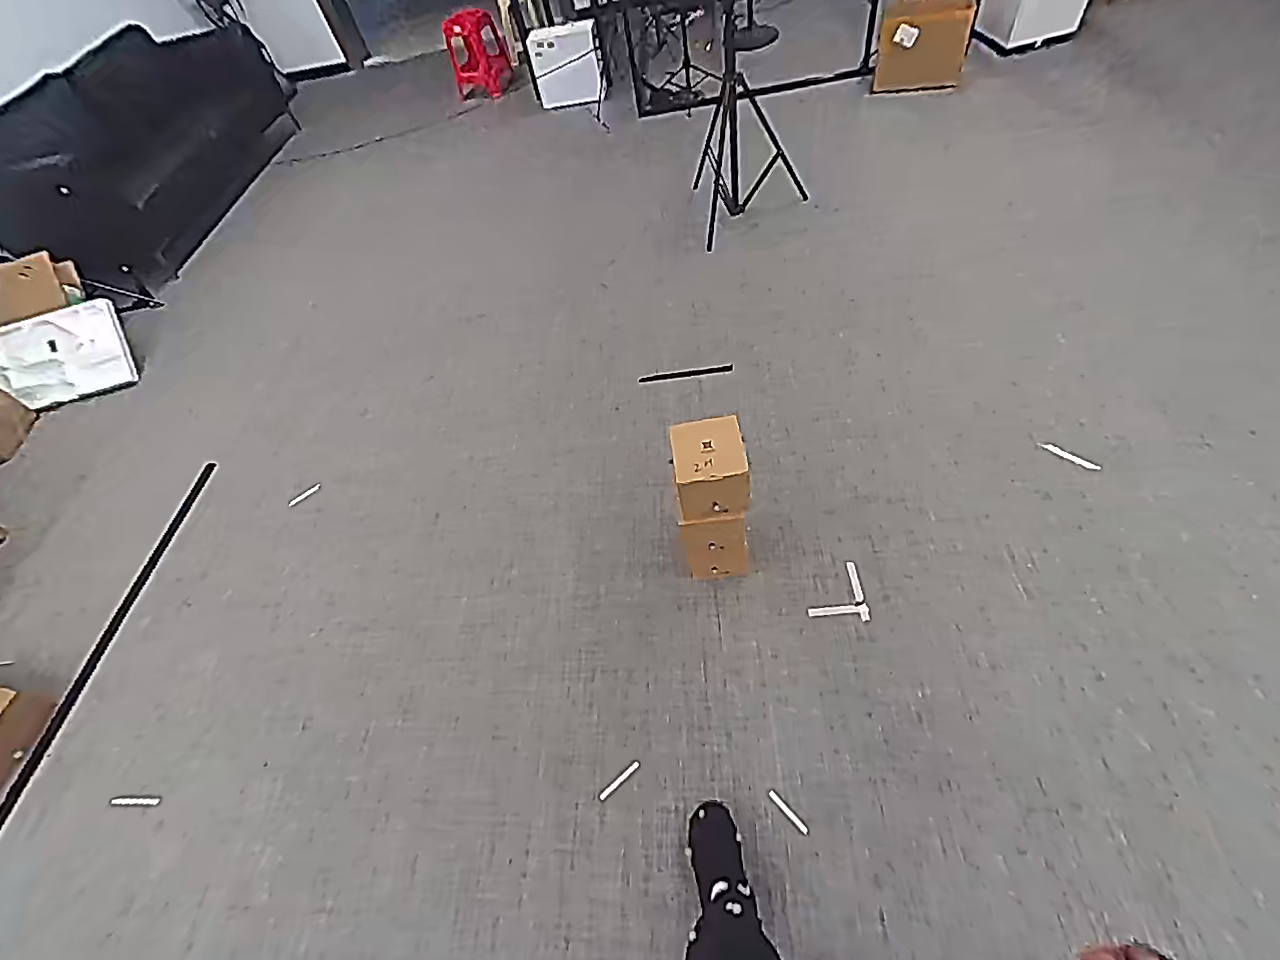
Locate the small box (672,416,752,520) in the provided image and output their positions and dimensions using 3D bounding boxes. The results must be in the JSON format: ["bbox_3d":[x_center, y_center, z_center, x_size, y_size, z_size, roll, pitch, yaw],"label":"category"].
[{"bbox_3d":[0.174,-0.026,1.313,0.168,0.176,0.179,-10,54,5],"label":"small box"}]

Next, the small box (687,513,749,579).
[{"bbox_3d":[0.224,0.170,1.573,0.168,0.176,0.179,-6,54,7],"label":"small box"}]
